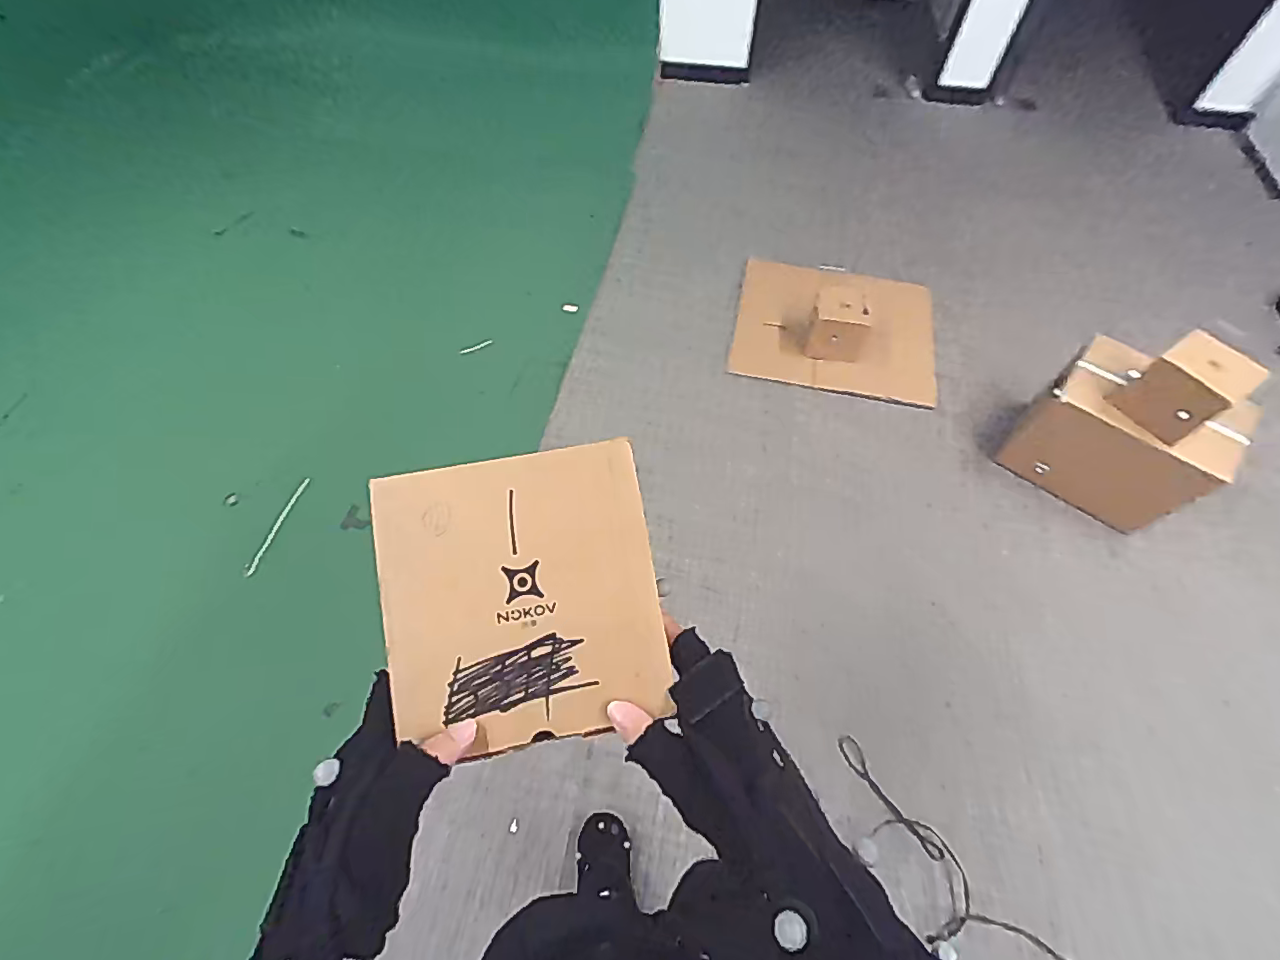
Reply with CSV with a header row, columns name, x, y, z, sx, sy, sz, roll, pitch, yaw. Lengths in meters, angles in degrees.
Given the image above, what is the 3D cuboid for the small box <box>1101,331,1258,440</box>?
name,x,y,z,sx,sy,sz,roll,pitch,yaw
small box,1.303,-0.221,1.318,0.168,0.176,0.179,-30,63,-18

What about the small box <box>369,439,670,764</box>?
name,x,y,z,sx,sy,sz,roll,pitch,yaw
small box,-0.079,0.082,0.419,0.168,0.176,0.179,-12,82,-5

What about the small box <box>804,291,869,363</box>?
name,x,y,z,sx,sy,sz,roll,pitch,yaw
small box,0.660,-0.519,1.842,0.179,0.176,0.168,6,57,5
